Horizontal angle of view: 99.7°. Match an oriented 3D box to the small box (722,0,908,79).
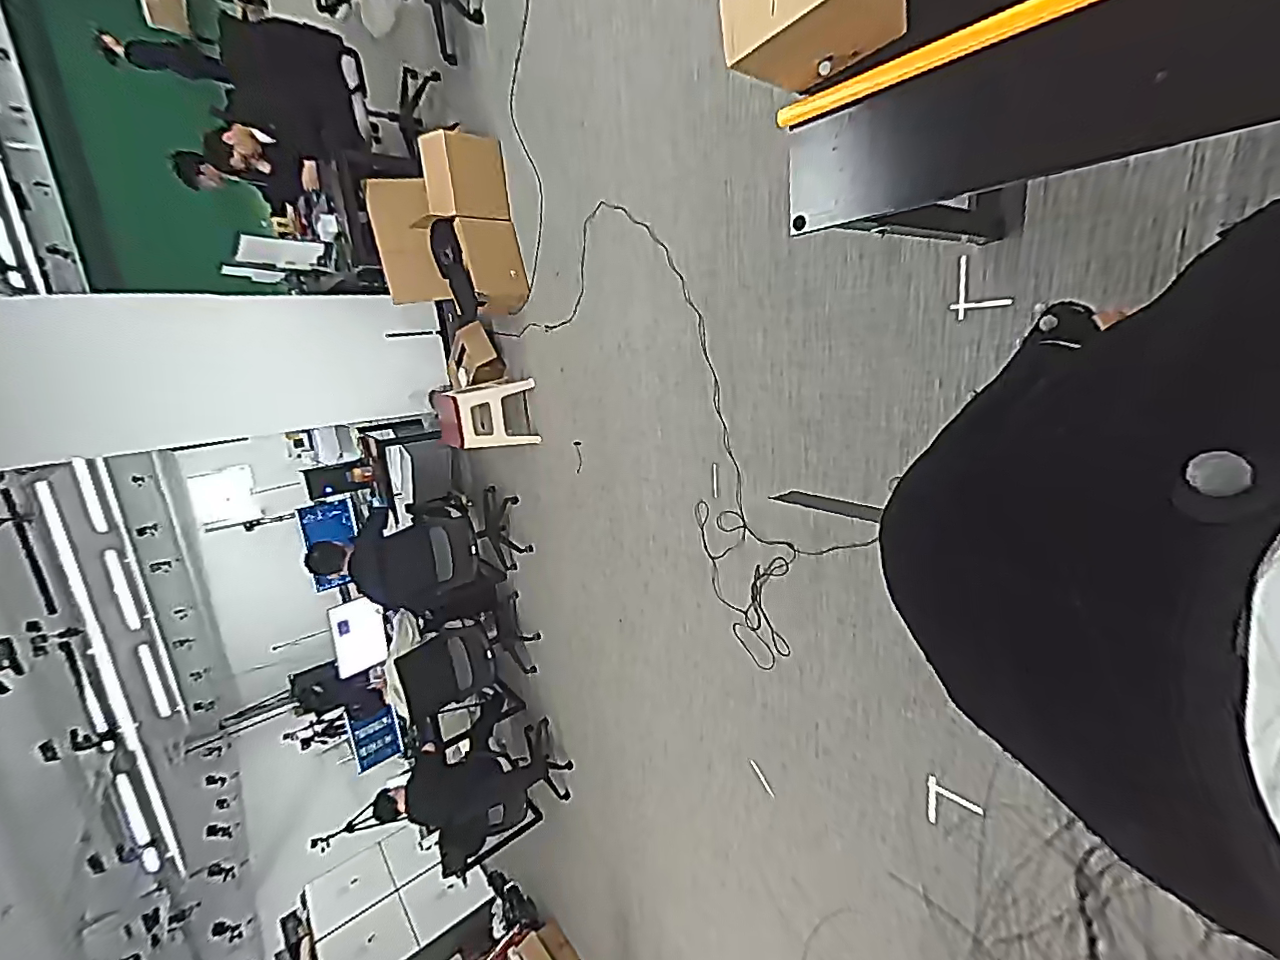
[{"bbox_3d":[0.217,-0.652,0.680,0.168,0.176,0.179,7,109,51],"label":"small box"}]
